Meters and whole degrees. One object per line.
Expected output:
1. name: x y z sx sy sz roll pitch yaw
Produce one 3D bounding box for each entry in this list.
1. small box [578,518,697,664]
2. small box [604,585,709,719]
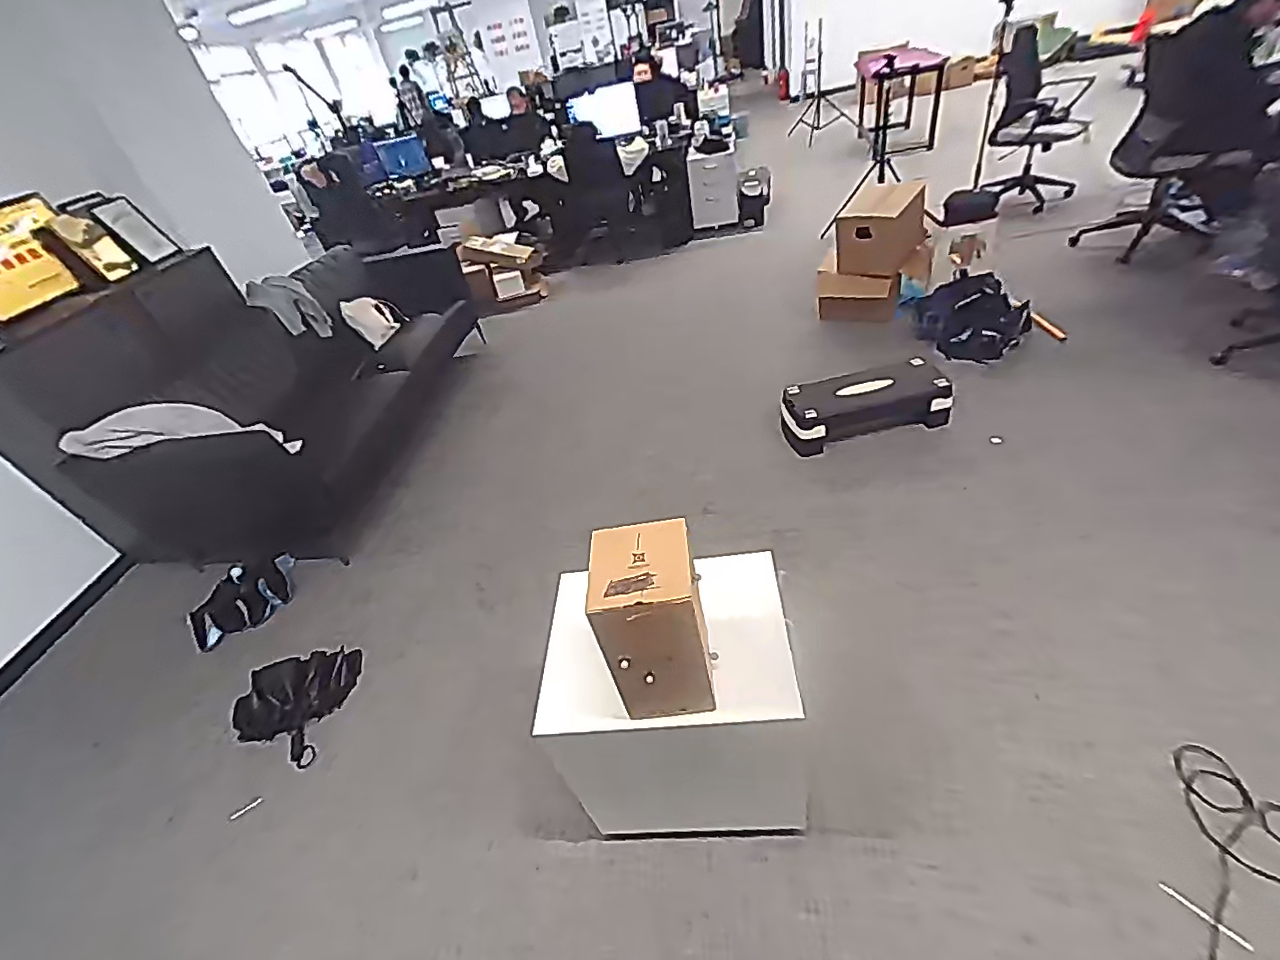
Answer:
1. small box: 0.000 0.194 0.917 0.168 0.176 0.179 -9 37 6
2. small box: 0.032 0.320 1.019 0.168 0.176 0.179 -10 37 6
